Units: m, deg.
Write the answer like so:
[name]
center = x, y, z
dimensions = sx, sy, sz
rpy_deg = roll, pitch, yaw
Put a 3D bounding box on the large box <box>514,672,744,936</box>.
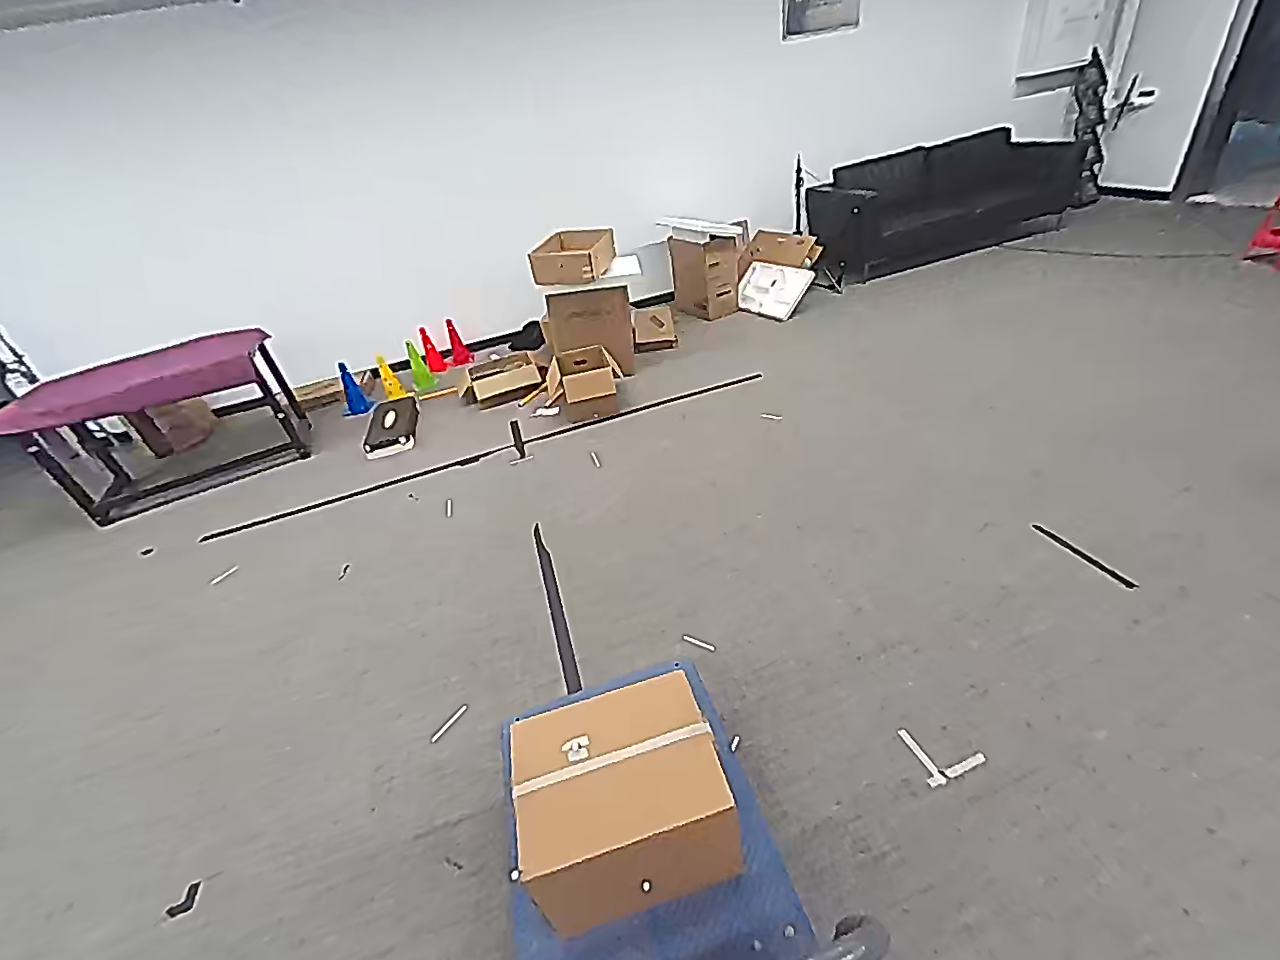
[large box]
center = -0.025, 0.693, 1.178
dimensions = 0.408, 0.320, 0.320
rpy_deg = -17, 33, -6
